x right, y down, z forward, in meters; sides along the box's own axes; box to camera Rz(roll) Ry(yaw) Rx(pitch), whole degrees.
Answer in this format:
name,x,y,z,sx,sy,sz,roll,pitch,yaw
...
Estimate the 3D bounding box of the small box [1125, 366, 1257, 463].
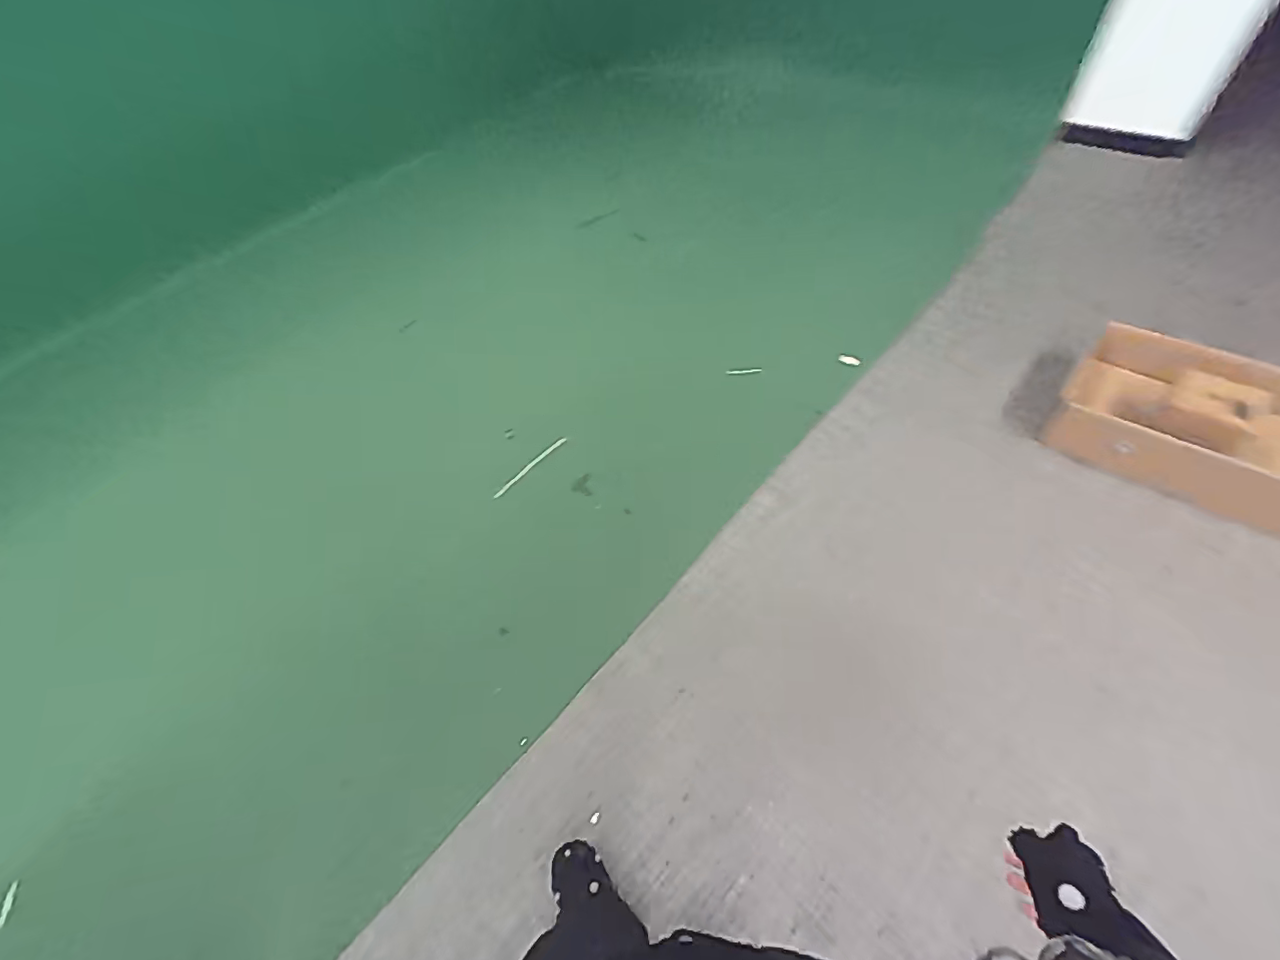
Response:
name,x,y,z,sx,sy,sz,roll,pitch,yaw
small box,1.480,-0.171,1.460,0.179,0.176,0.168,30,64,26
